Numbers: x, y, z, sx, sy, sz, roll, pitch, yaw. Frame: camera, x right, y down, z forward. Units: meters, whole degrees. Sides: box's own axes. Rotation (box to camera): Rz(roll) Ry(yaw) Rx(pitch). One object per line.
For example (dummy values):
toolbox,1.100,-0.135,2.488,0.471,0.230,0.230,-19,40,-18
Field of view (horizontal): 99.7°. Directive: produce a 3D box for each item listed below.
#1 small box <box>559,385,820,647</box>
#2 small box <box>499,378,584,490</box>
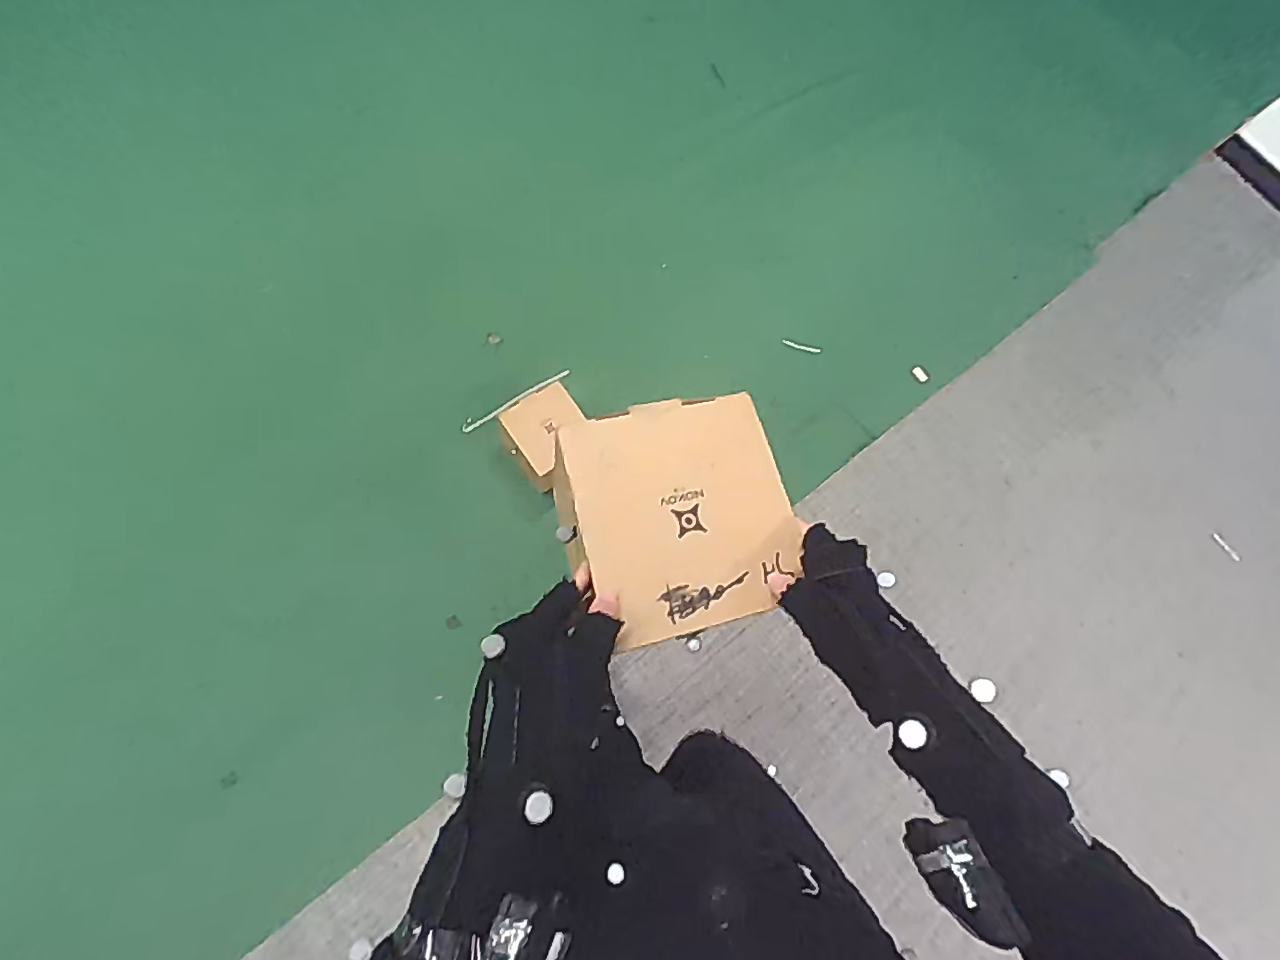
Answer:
small box,0.025,0.041,0.487,0.168,0.176,0.179,-12,73,-14
small box,-0.210,-0.101,1.269,0.168,0.176,0.179,-32,81,-15
